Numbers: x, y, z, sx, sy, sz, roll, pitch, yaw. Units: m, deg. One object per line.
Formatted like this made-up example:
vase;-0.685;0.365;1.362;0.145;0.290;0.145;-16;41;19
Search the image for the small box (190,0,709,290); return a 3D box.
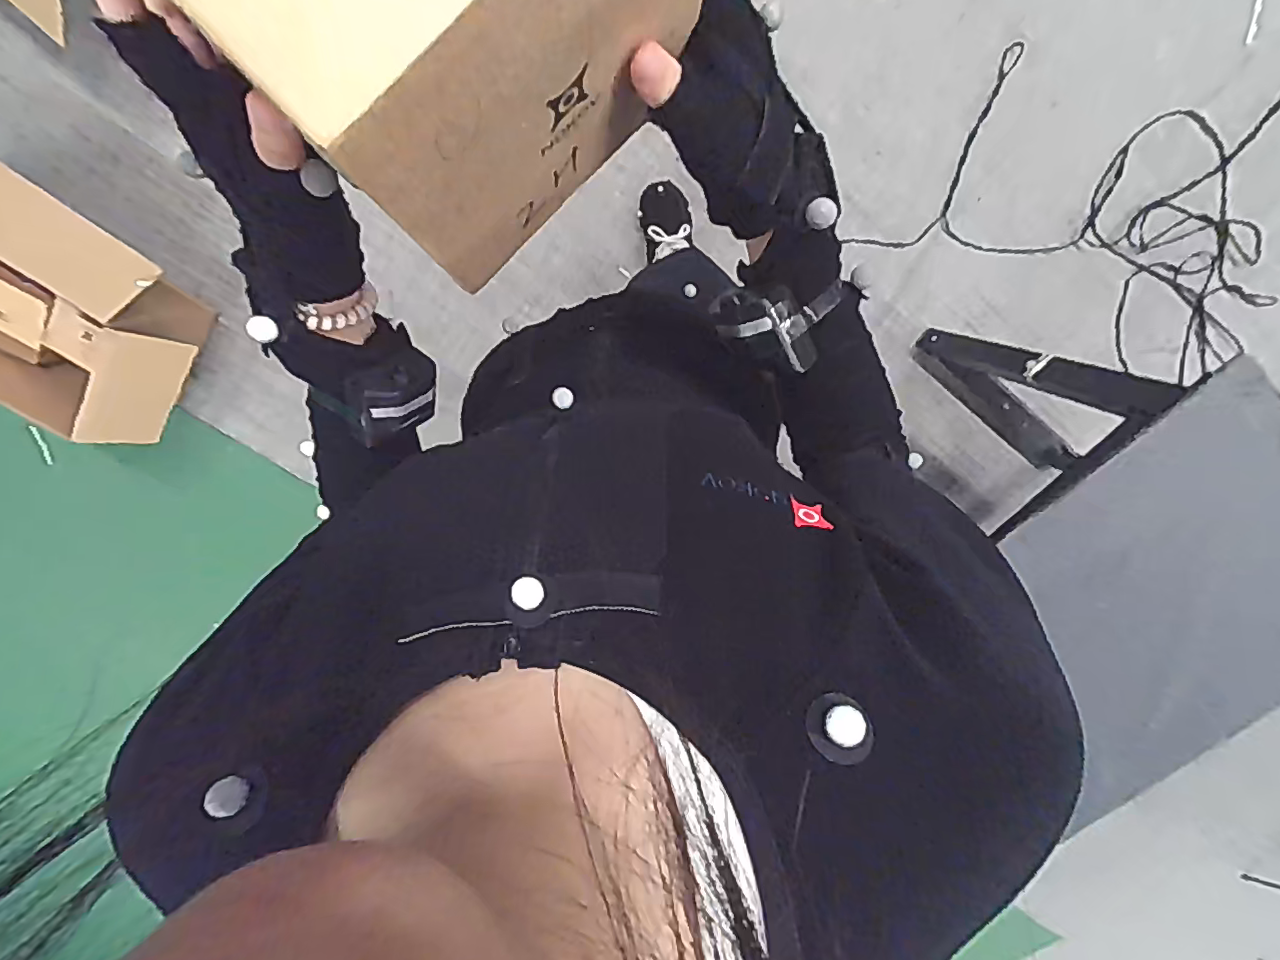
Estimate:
small box;-0.083;-0.212;0.210;0.168;0.179;0.176;-45;98;0
